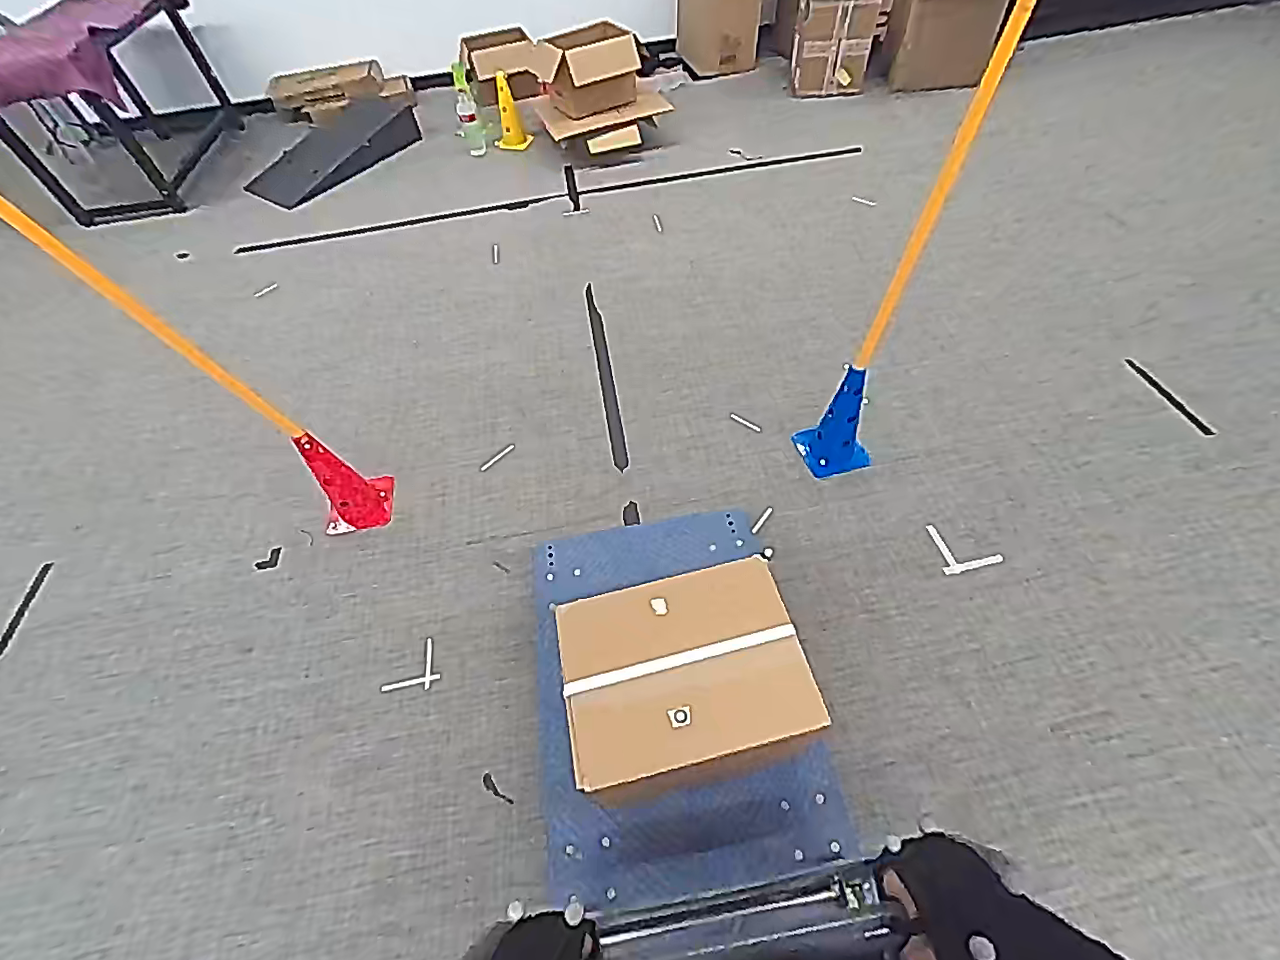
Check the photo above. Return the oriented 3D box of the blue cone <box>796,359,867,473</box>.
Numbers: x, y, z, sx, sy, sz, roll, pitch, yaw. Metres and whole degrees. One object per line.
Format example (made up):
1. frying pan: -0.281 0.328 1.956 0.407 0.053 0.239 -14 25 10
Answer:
1. blue cone: 0.616 -0.204 1.637 0.193 0.380 0.192 -13 53 -5
